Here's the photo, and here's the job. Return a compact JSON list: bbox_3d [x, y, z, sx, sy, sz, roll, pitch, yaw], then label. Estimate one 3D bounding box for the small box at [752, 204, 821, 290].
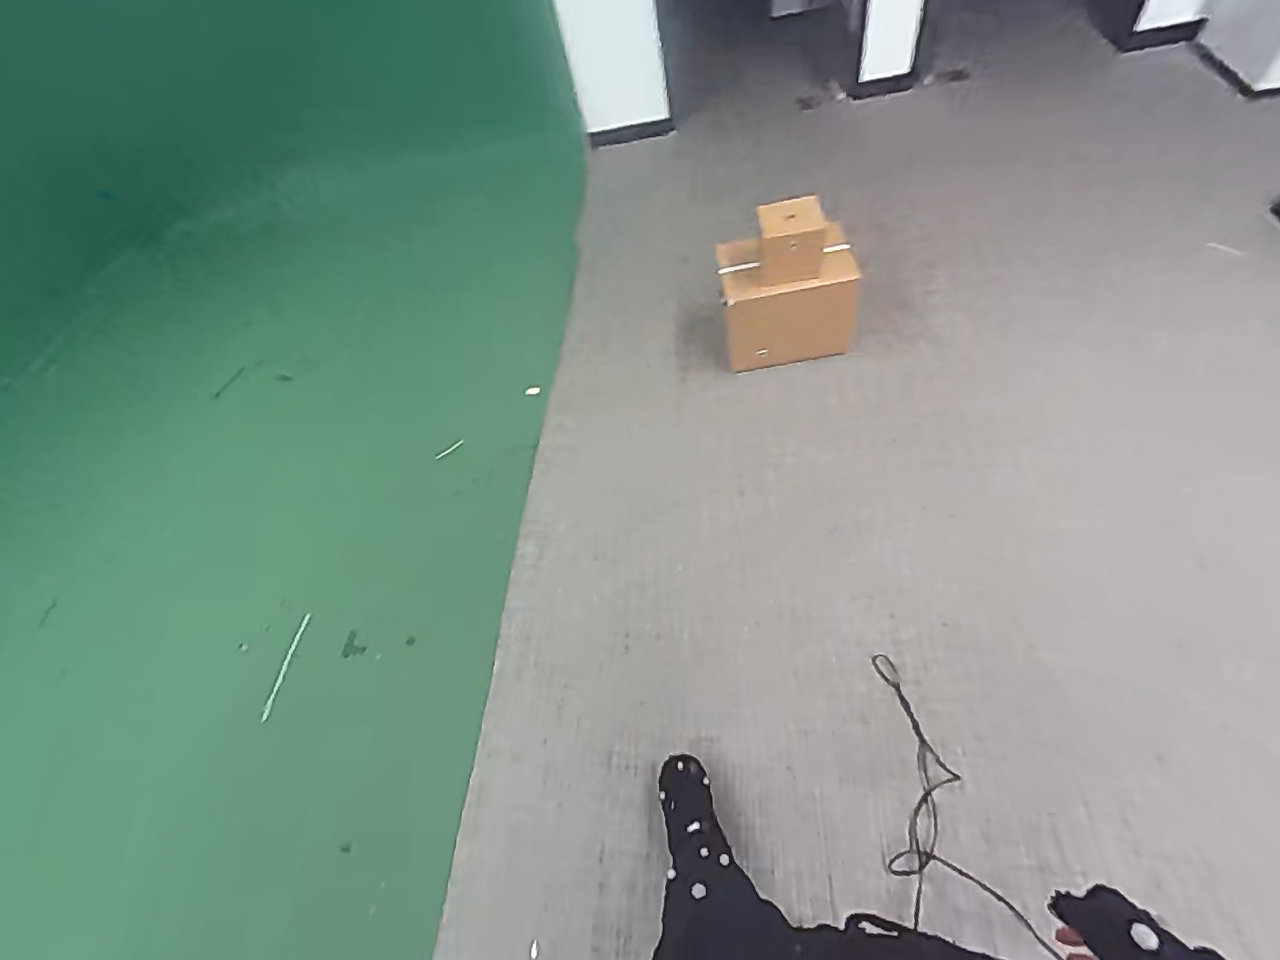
[{"bbox_3d":[0.441,-0.703,1.646,0.179,0.176,0.168,-6,57,7],"label":"small box"}]
